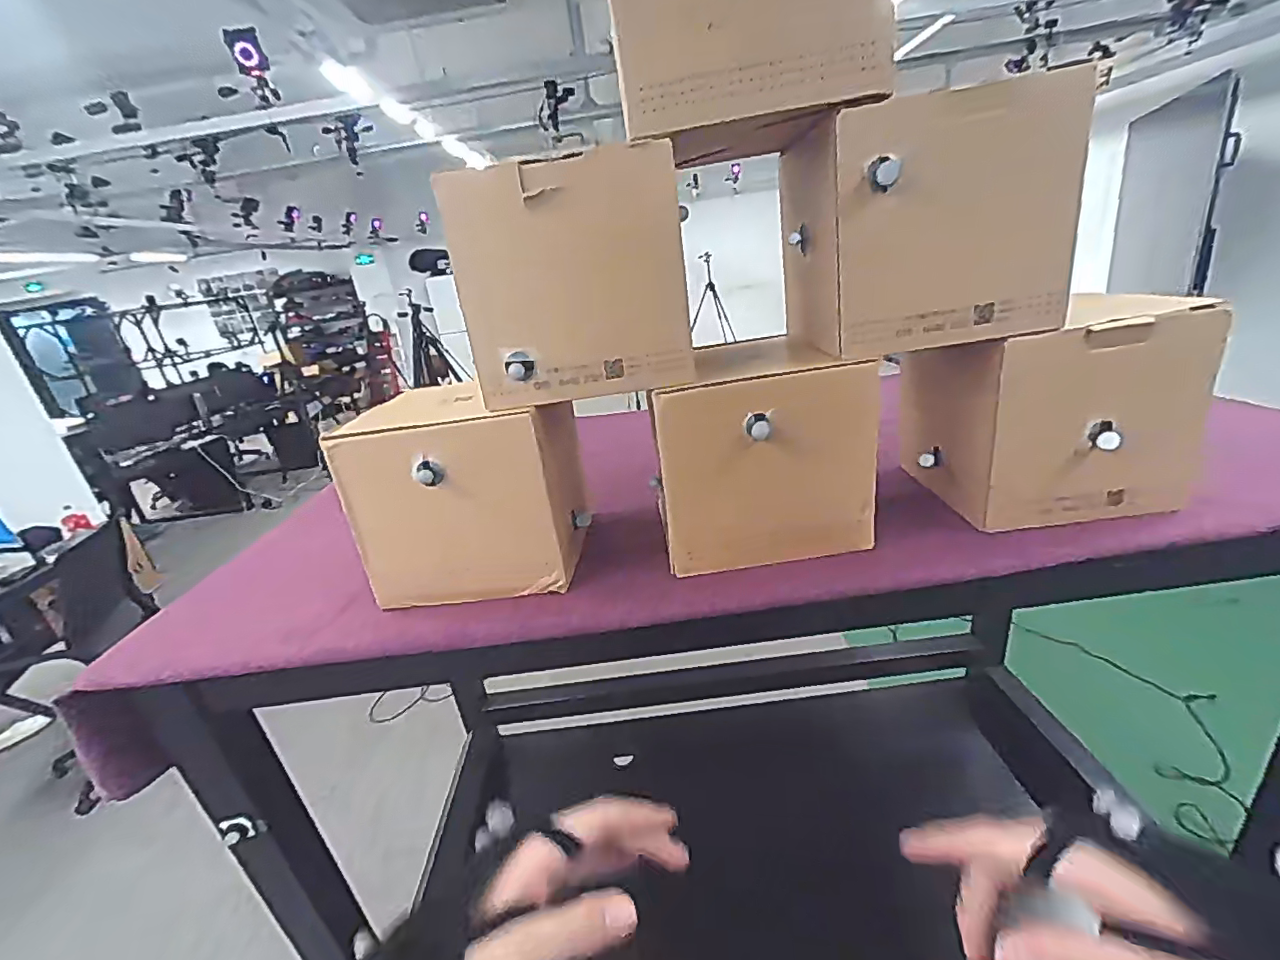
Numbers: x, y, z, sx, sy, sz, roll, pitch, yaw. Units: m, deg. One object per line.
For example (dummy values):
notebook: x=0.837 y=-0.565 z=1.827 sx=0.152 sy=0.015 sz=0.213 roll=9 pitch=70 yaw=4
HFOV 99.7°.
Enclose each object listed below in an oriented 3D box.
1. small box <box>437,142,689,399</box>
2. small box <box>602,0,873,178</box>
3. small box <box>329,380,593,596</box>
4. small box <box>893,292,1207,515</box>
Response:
small box: x=-0.052 y=-0.172 z=0.480 sx=0.168 sy=0.176 sz=0.179 roll=-7 pitch=20 yaw=2
small box: x=0.064 y=-0.342 z=0.412 sx=0.179 sy=0.176 sz=0.168 roll=-8 pitch=21 yaw=5
small box: x=-0.154 y=0.000 z=0.531 sx=0.179 sy=0.176 sz=0.168 roll=-5 pitch=21 yaw=6
small box: x=0.358 y=-0.073 z=0.515 sx=0.168 sy=0.176 sz=0.179 roll=-7 pitch=22 yaw=4
